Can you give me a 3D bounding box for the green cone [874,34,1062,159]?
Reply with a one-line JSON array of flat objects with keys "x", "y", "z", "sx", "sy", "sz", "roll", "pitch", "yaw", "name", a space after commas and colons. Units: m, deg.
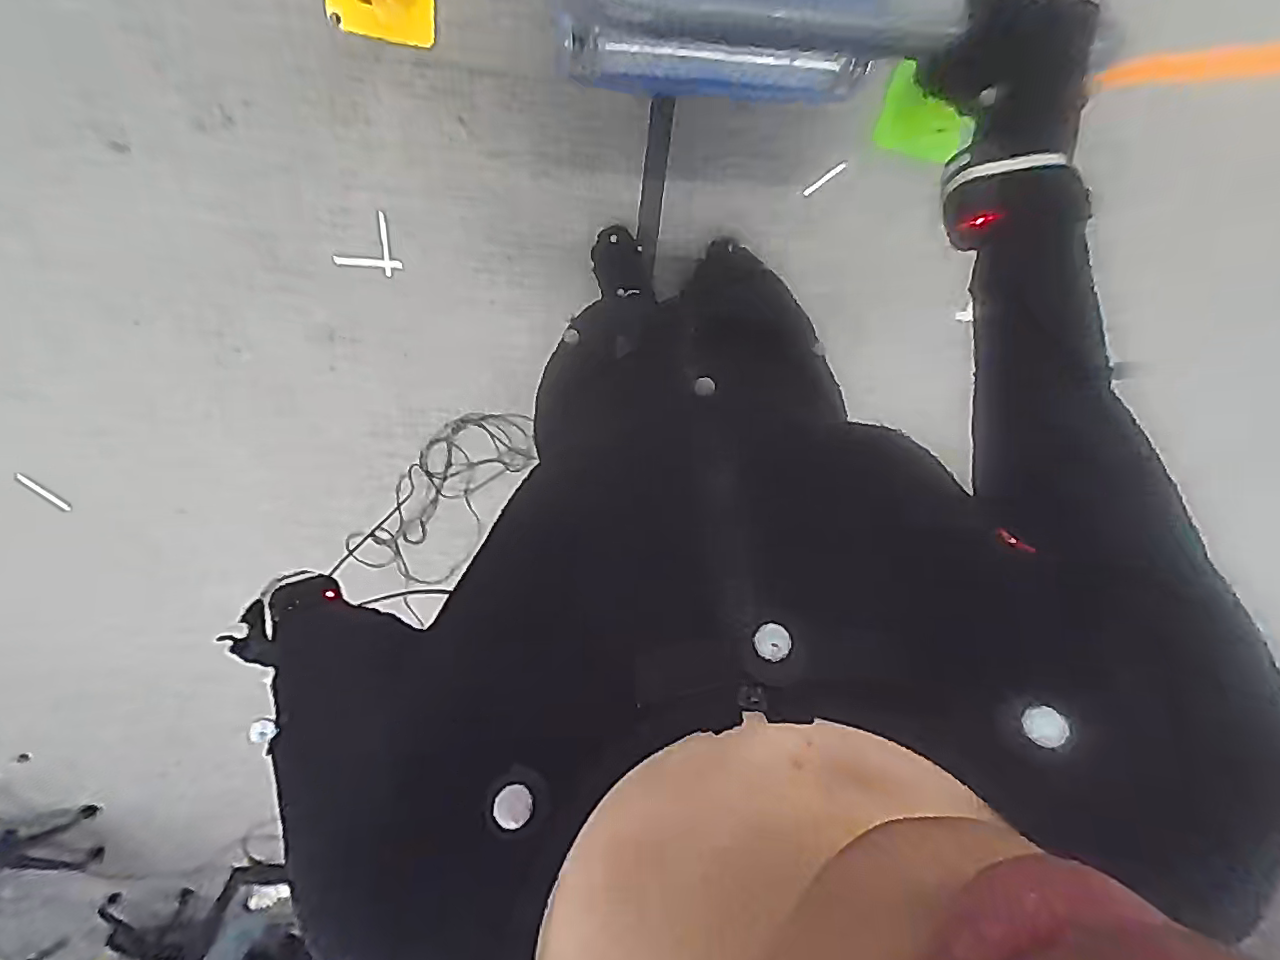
[{"x": 0.637, "y": -0.734, "z": 1.018, "sx": 0.202, "sy": 0.368, "sz": 0.200, "roll": 6, "pitch": 120, "yaw": -9, "name": "green cone"}]
